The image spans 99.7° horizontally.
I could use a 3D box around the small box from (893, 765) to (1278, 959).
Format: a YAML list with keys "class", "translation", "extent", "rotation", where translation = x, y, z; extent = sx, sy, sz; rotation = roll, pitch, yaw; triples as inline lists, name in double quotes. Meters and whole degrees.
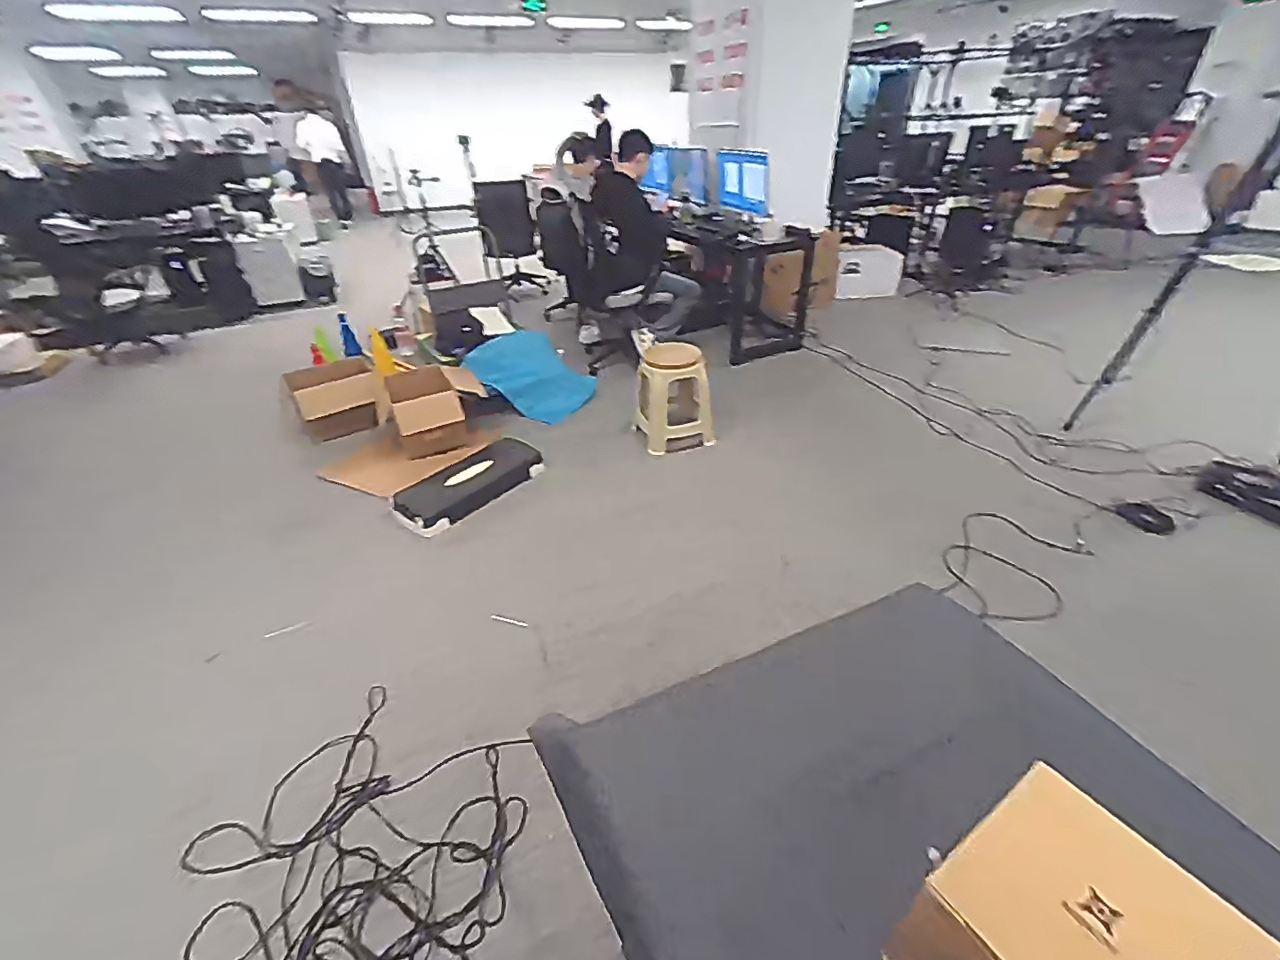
- class: "small box"
  translation: [0.340, 0.389, 0.446]
  extent: [0.179, 0.176, 0.168]
  rotation: [-22, 39, -26]
